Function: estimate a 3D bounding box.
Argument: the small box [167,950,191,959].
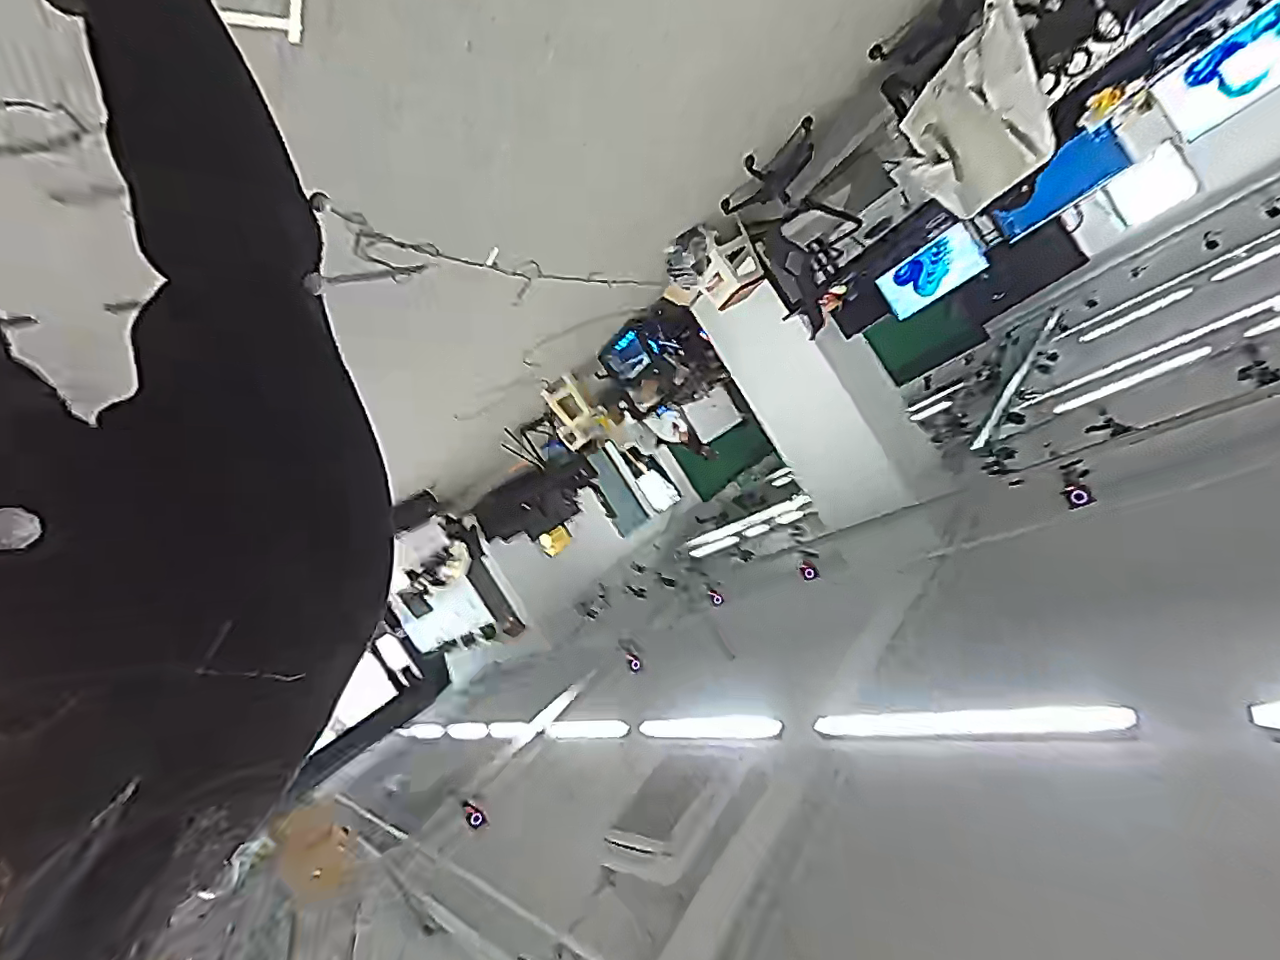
[{"bbox_3d":[-1.388,1.528,1.573,0.168,0.176,0.179,-34,-179,-43],"label":"small box"}]

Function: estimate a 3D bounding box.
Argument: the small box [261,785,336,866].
[{"bbox_3d":[-1.223,1.226,1.932,0.168,0.176,0.179,-32,-178,-41],"label":"small box"}]

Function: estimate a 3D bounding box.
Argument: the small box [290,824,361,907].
[{"bbox_3d":[-1.128,1.359,1.927,0.168,0.176,0.179,-31,-178,-39],"label":"small box"}]
